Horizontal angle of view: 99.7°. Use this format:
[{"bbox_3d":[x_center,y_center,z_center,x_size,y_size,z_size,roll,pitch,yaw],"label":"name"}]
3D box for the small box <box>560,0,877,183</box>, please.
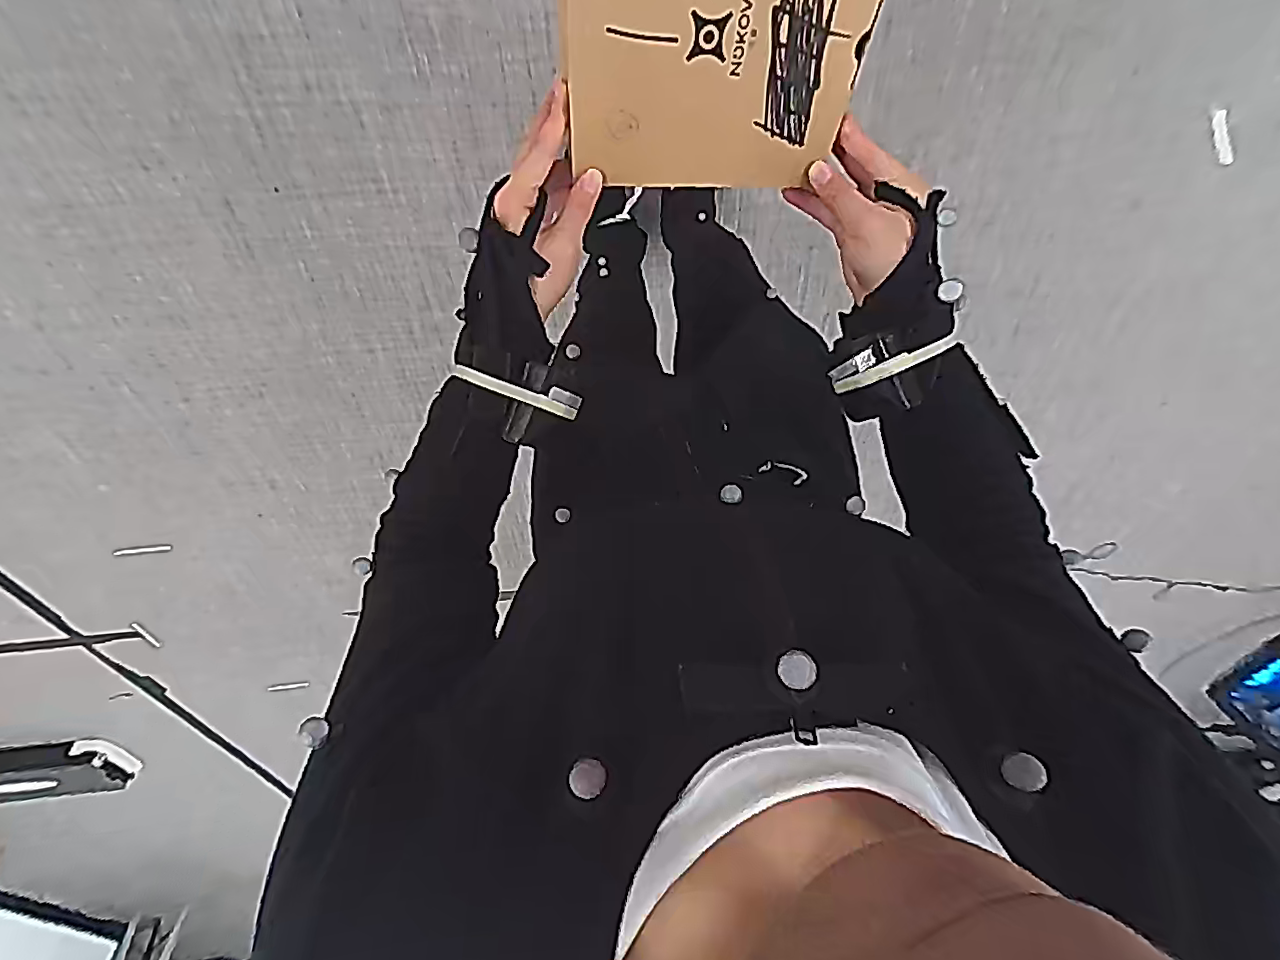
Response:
[{"bbox_3d":[0.038,-0.322,0.354,0.179,0.176,0.168,-3,147,-7],"label":"small box"}]
